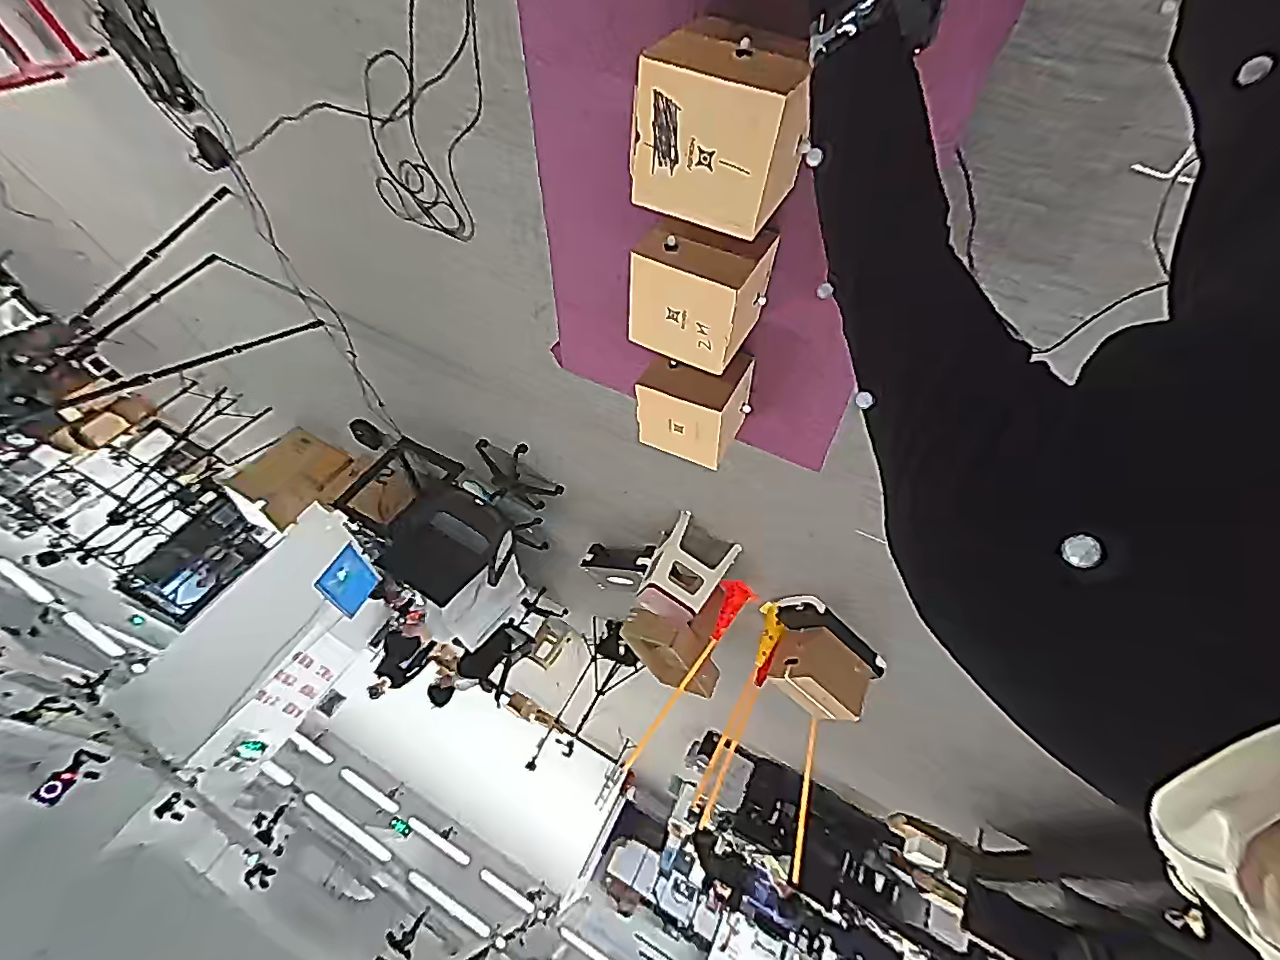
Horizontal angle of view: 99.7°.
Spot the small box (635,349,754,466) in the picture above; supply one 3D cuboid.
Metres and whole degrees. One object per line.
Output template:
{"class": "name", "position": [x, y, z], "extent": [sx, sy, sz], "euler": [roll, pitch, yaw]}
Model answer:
{"class": "small box", "position": [0.107, -0.163, 1.078], "extent": [0.179, 0.176, 0.168], "euler": [22, 147, 18]}

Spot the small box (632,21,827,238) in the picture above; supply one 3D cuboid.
{"class": "small box", "position": [0.109, -0.448, 0.686], "extent": [0.179, 0.176, 0.168], "euler": [25, 148, 12]}

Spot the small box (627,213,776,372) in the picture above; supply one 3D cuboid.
{"class": "small box", "position": [0.096, -0.314, 0.880], "extent": [0.179, 0.176, 0.168], "euler": [25, 148, 14]}
